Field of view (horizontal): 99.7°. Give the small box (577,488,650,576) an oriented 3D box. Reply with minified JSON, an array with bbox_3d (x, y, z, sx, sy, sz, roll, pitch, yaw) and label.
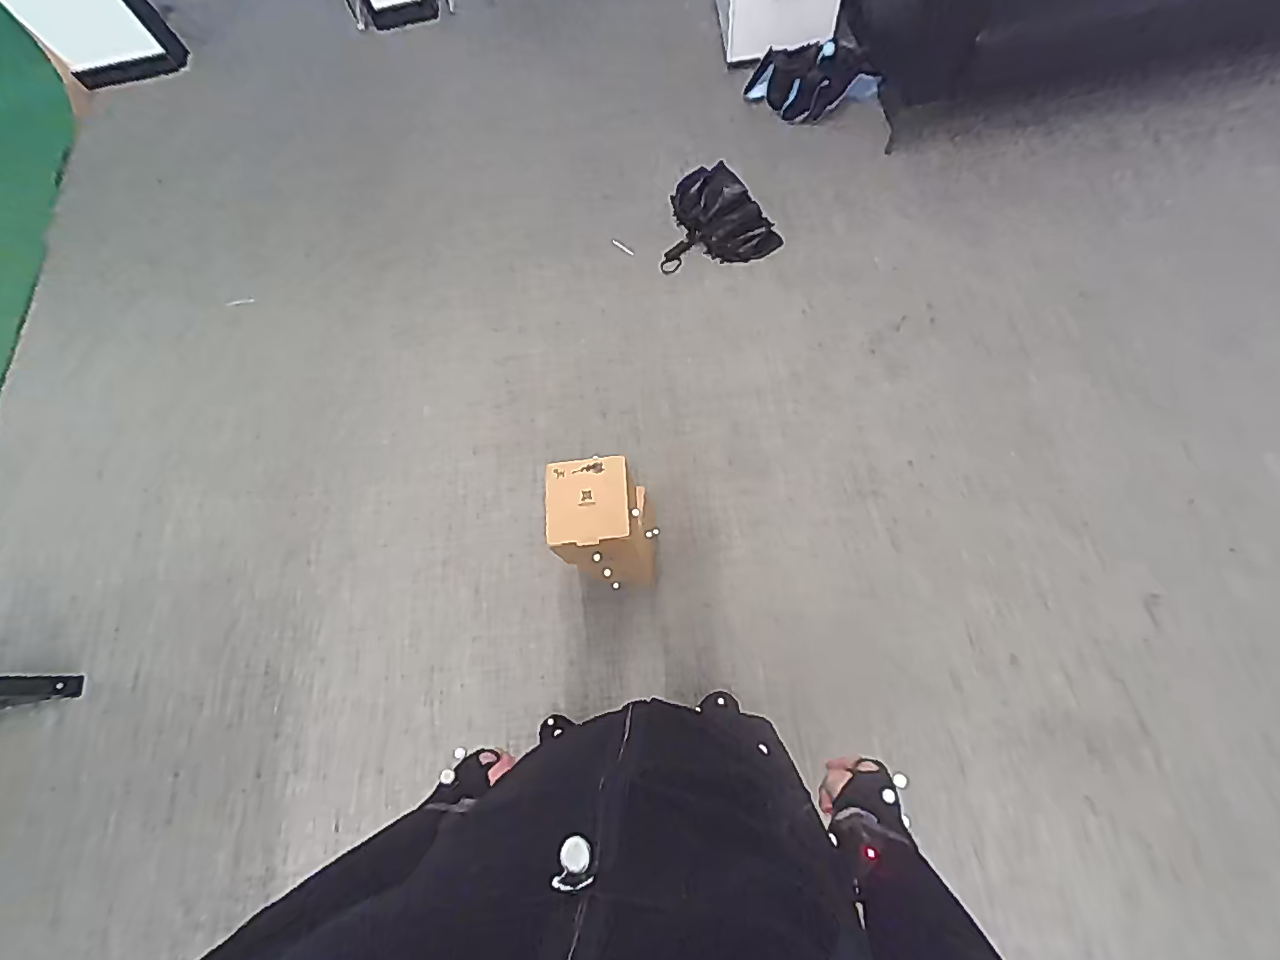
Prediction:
[{"bbox_3d":[-0.068,0.124,1.299,0.168,0.176,0.179,3,71,8],"label":"small box"}]

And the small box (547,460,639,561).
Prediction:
[{"bbox_3d":[-0.095,0.072,1.147,0.168,0.176,0.179,-5,70,5],"label":"small box"}]

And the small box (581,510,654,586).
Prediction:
[{"bbox_3d":[-0.054,0.180,1.453,0.168,0.176,0.179,2,71,8],"label":"small box"}]
